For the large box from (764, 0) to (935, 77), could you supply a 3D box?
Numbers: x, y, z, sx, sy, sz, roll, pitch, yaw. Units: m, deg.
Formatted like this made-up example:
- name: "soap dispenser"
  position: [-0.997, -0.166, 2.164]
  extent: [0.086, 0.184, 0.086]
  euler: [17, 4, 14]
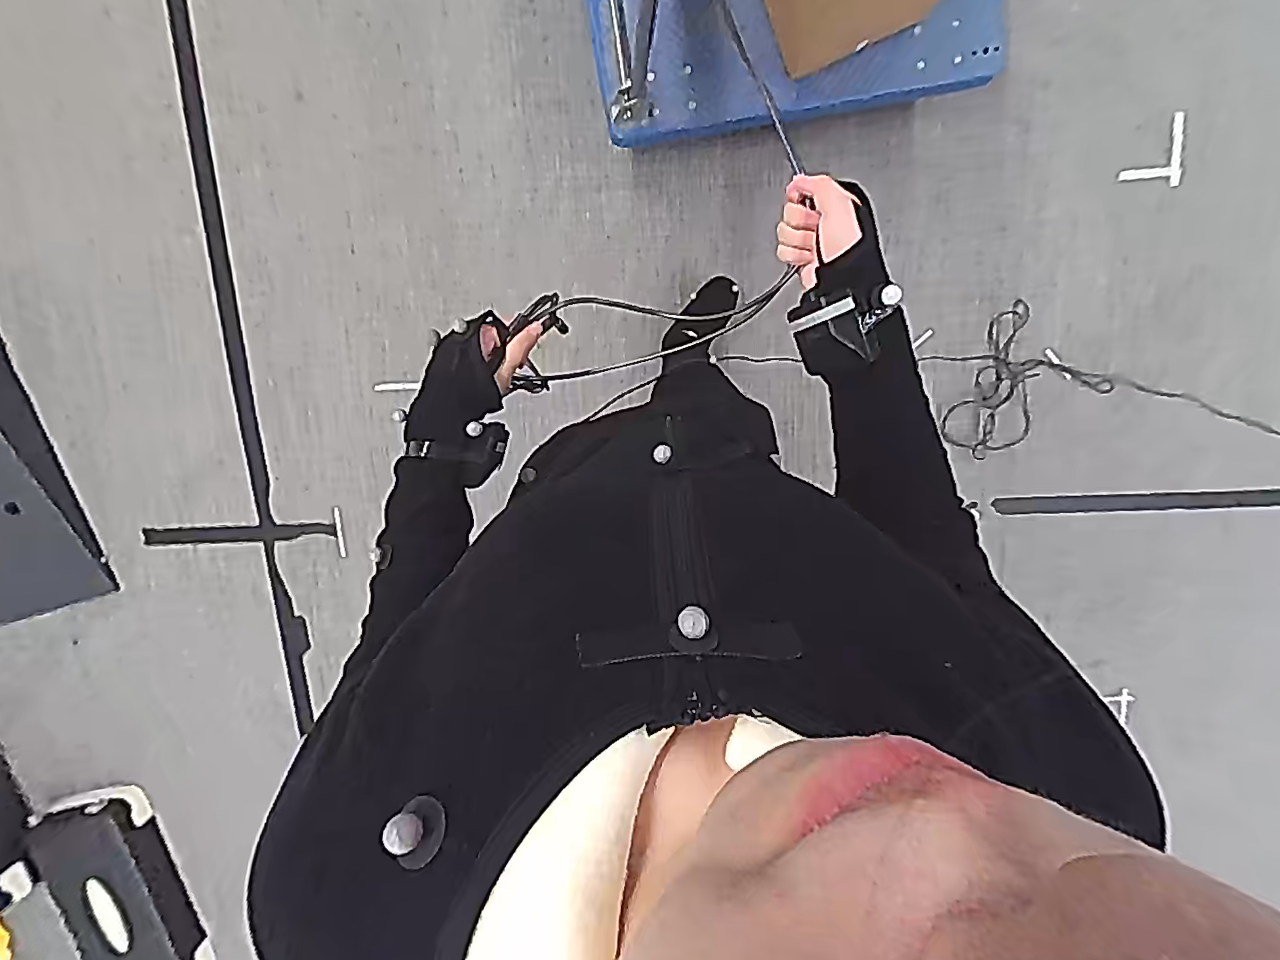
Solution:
- name: "large box"
  position: [0.386, -1.070, 0.974]
  extent: [0.320, 0.320, 0.408]
  euler: [-24, 100, 4]
